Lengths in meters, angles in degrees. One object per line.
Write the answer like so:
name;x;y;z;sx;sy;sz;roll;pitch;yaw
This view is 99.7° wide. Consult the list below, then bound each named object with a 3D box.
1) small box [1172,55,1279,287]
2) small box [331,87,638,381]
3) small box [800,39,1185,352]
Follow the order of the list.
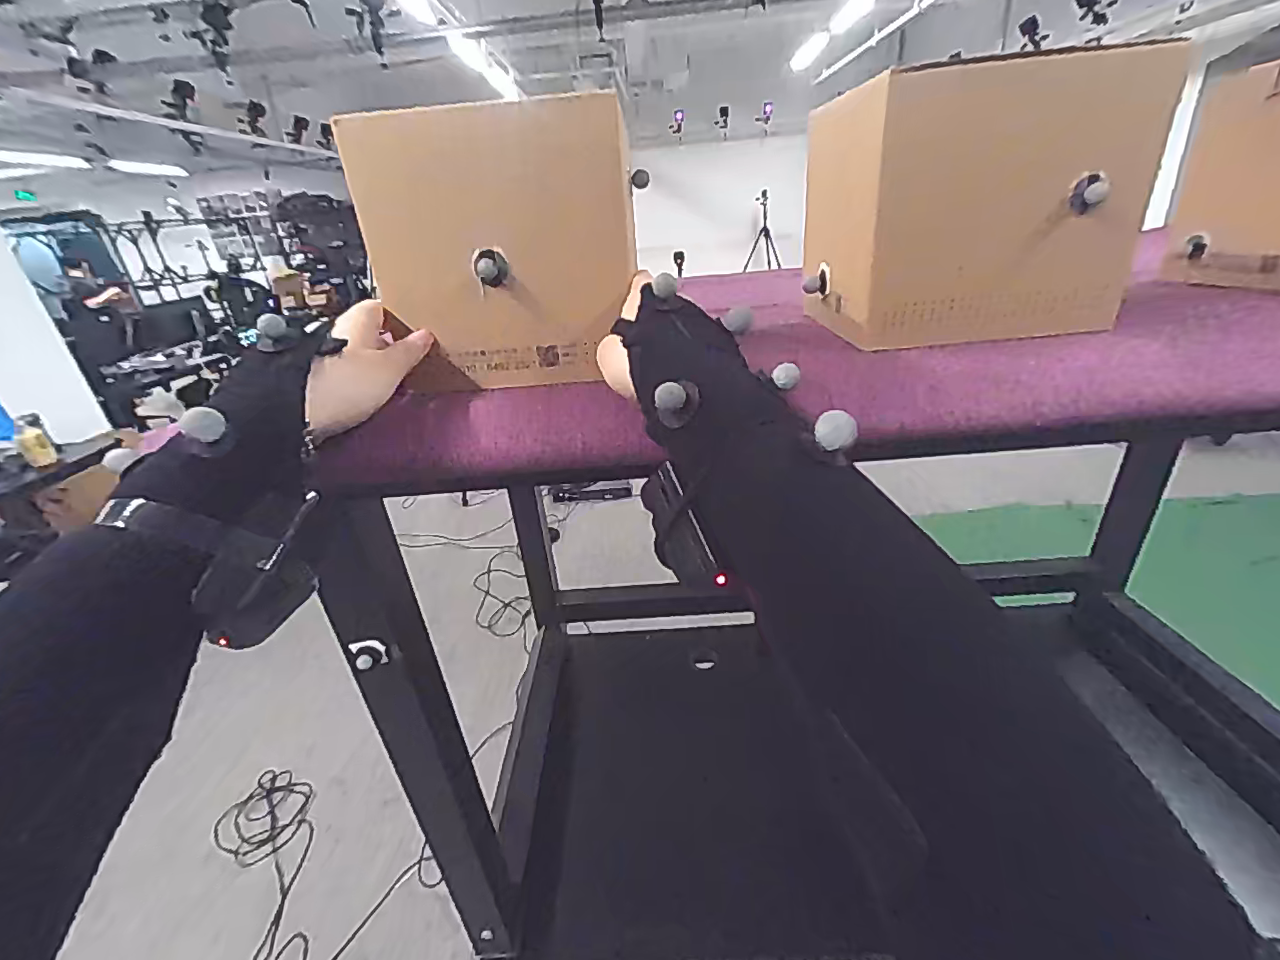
small box;0.579;-0.248;0.422;0.179;0.176;0.168;-4;25;3
small box;-0.089;-0.177;0.414;0.168;0.176;0.179;-3;28;2
small box;0.233;-0.206;0.416;0.179;0.176;0.168;-6;27;2
